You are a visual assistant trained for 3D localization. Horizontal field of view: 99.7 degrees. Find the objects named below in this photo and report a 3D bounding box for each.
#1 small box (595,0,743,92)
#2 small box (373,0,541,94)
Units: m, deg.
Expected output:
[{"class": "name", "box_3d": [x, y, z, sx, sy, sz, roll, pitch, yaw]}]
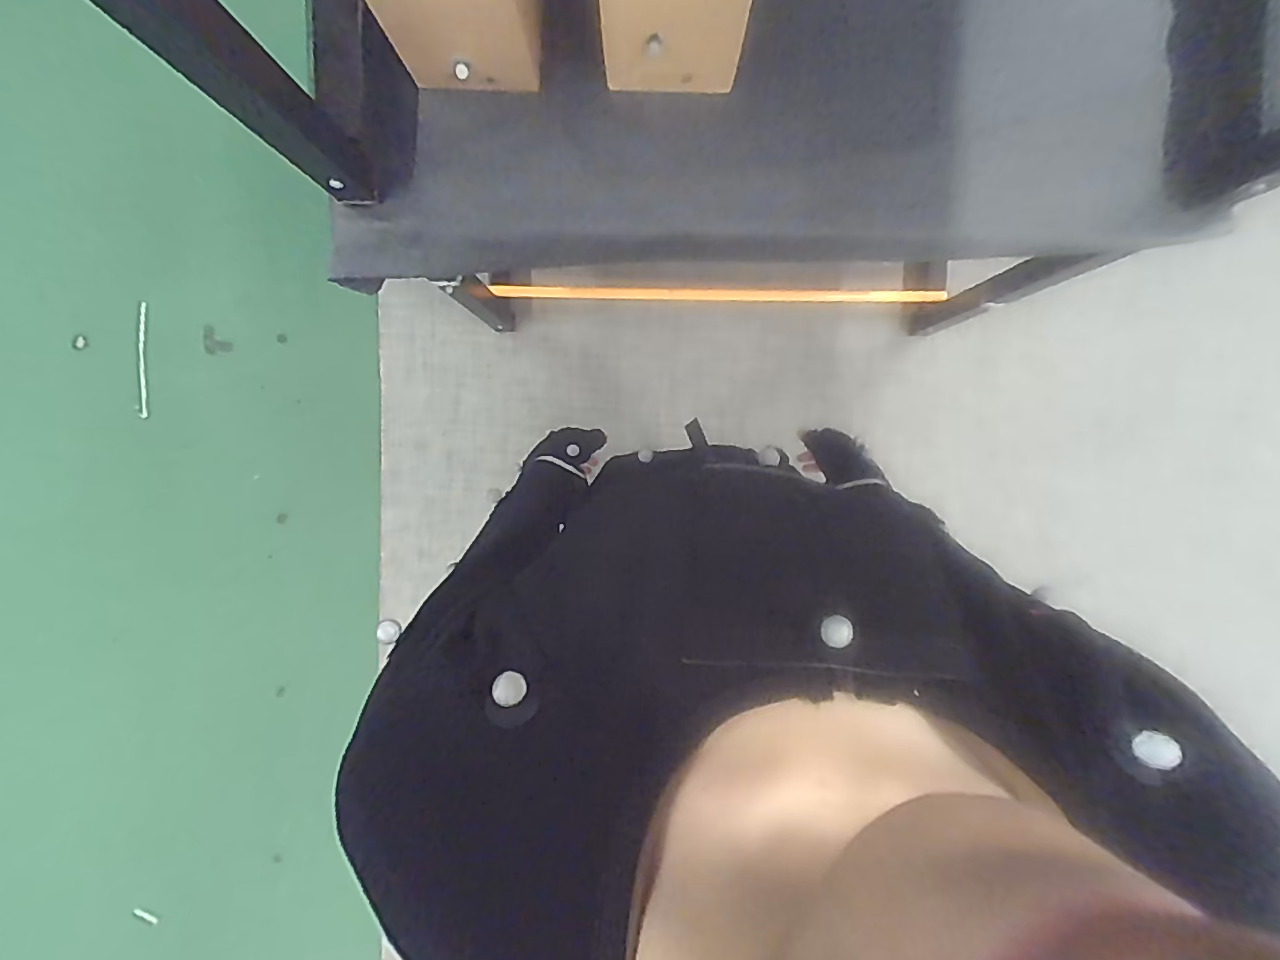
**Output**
[{"class": "small box", "box_3d": [0.037, -0.601, 0.643, 0.168, 0.176, 0.179, 1, 93, 0]}, {"class": "small box", "box_3d": [-0.216, -0.606, 0.643, 0.168, 0.176, 0.179, 2, 94, 1]}]
